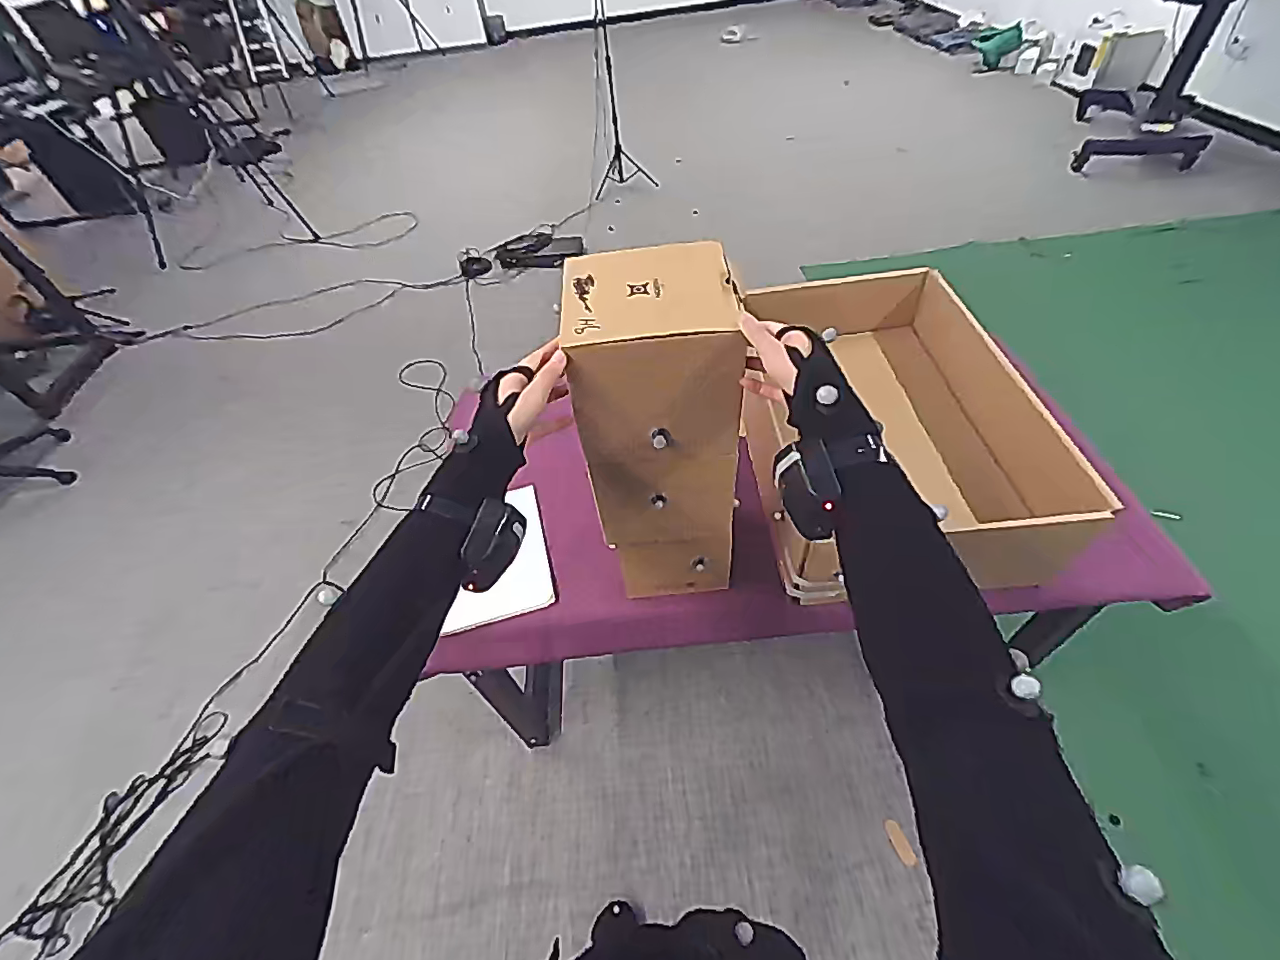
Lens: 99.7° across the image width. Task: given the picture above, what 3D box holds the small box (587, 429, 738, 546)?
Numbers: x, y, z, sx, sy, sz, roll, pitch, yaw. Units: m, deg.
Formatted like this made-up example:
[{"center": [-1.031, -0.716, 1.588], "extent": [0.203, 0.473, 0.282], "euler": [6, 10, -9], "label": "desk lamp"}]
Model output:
[{"center": [0.029, -0.026, 0.729], "extent": [0.179, 0.176, 0.168], "euler": [-5, 49, 2], "label": "small box"}]

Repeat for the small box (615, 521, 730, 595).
[{"center": [0.050, 0.071, 0.860], "extent": [0.168, 0.176, 0.179], "euler": [-5, 48, 2], "label": "small box"}]

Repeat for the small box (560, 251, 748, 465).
[{"center": [0.014, -0.132, 0.605], "extent": [0.179, 0.176, 0.168], "euler": [-4, 49, 1], "label": "small box"}]
